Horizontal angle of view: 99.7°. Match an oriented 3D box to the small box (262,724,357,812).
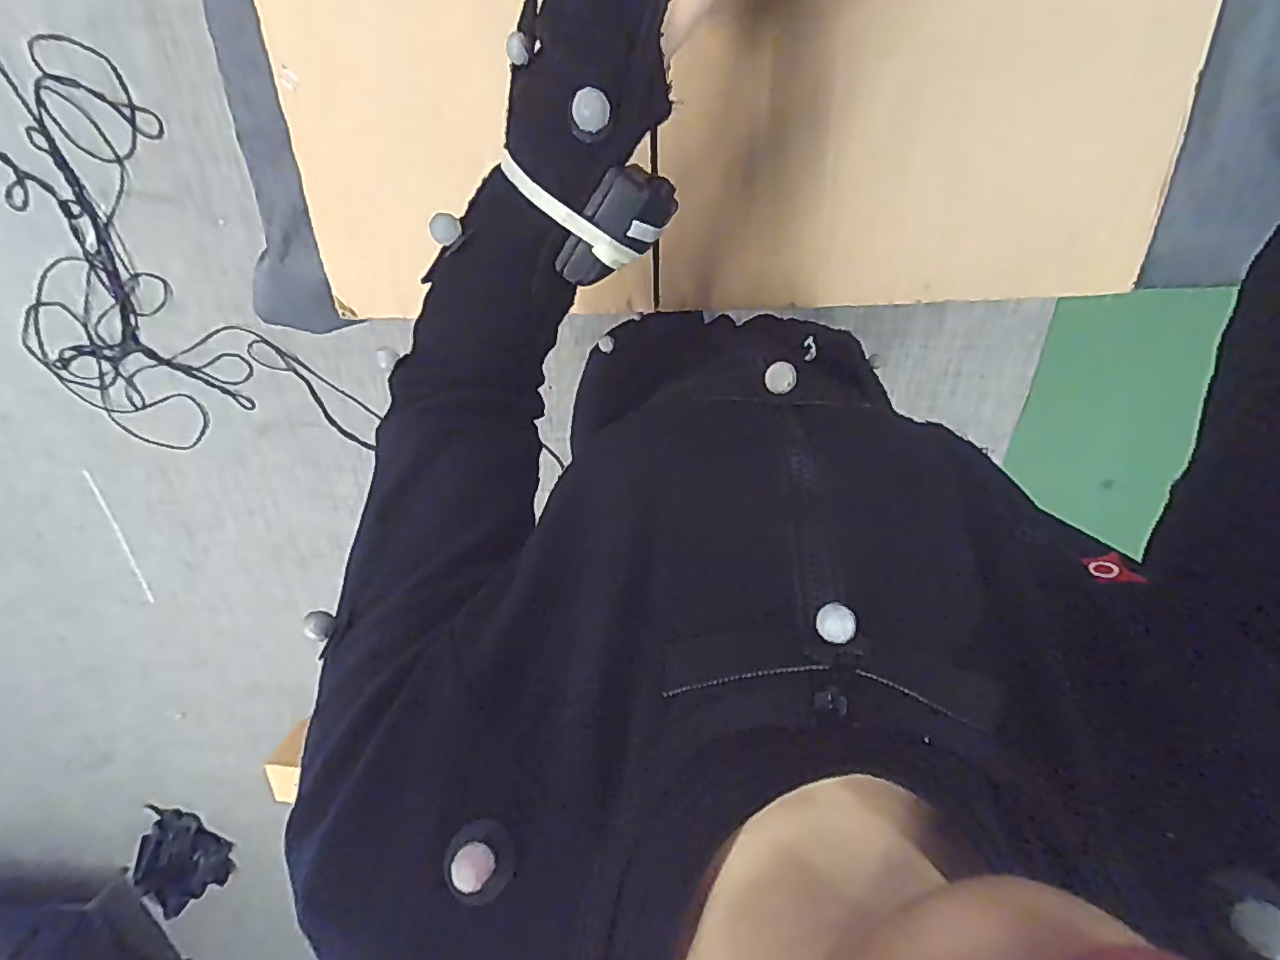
[{"bbox_3d":[-1.001,0.876,1.653,0.179,0.176,0.168,5,115,1],"label":"small box"}]
